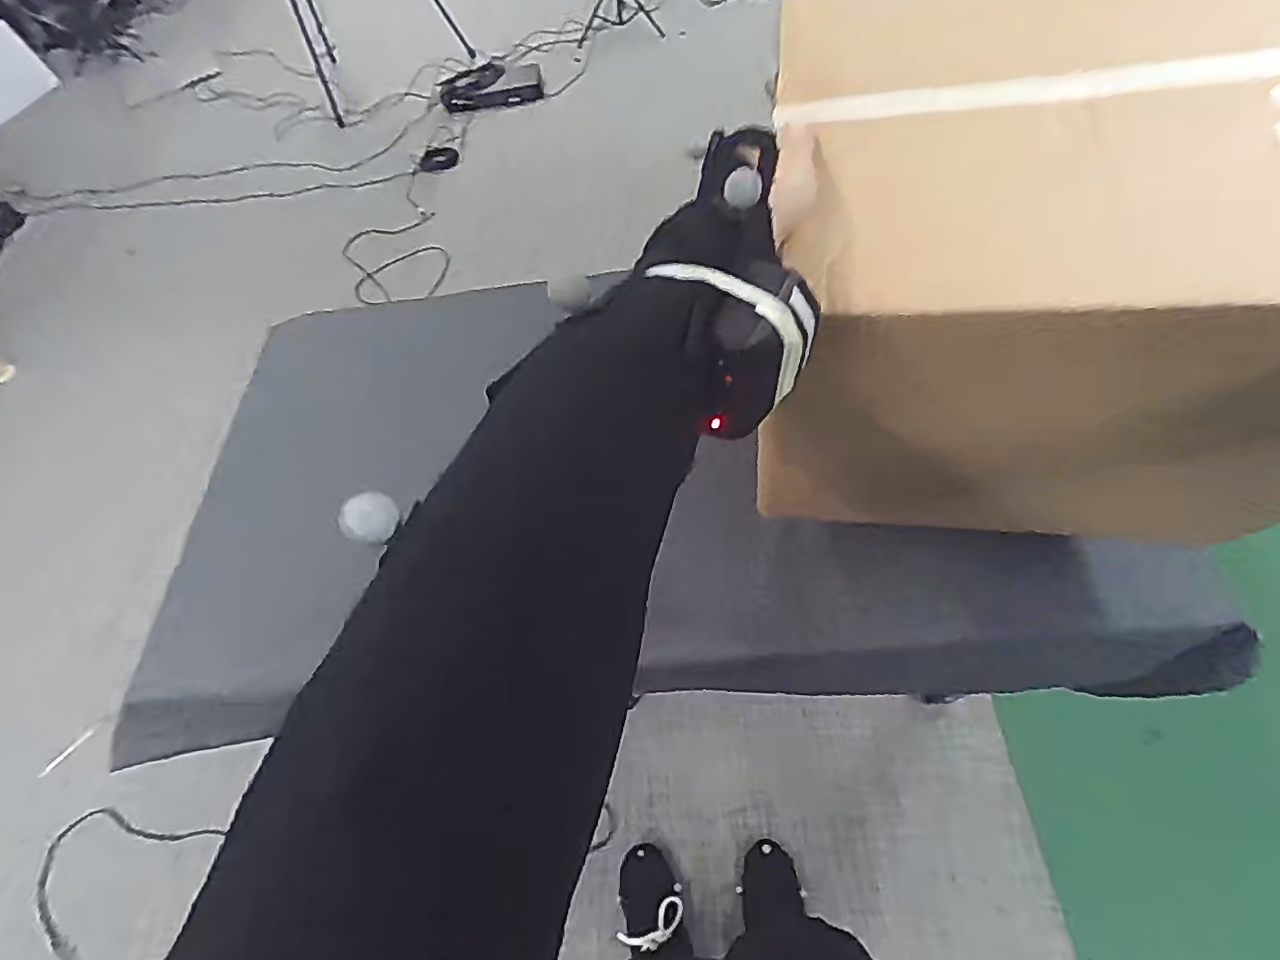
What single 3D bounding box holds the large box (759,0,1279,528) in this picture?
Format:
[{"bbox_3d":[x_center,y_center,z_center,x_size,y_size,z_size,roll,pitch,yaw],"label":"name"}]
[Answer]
[{"bbox_3d":[0.307,-0.160,0.437,0.408,0.320,0.320,2,67,11],"label":"large box"}]
